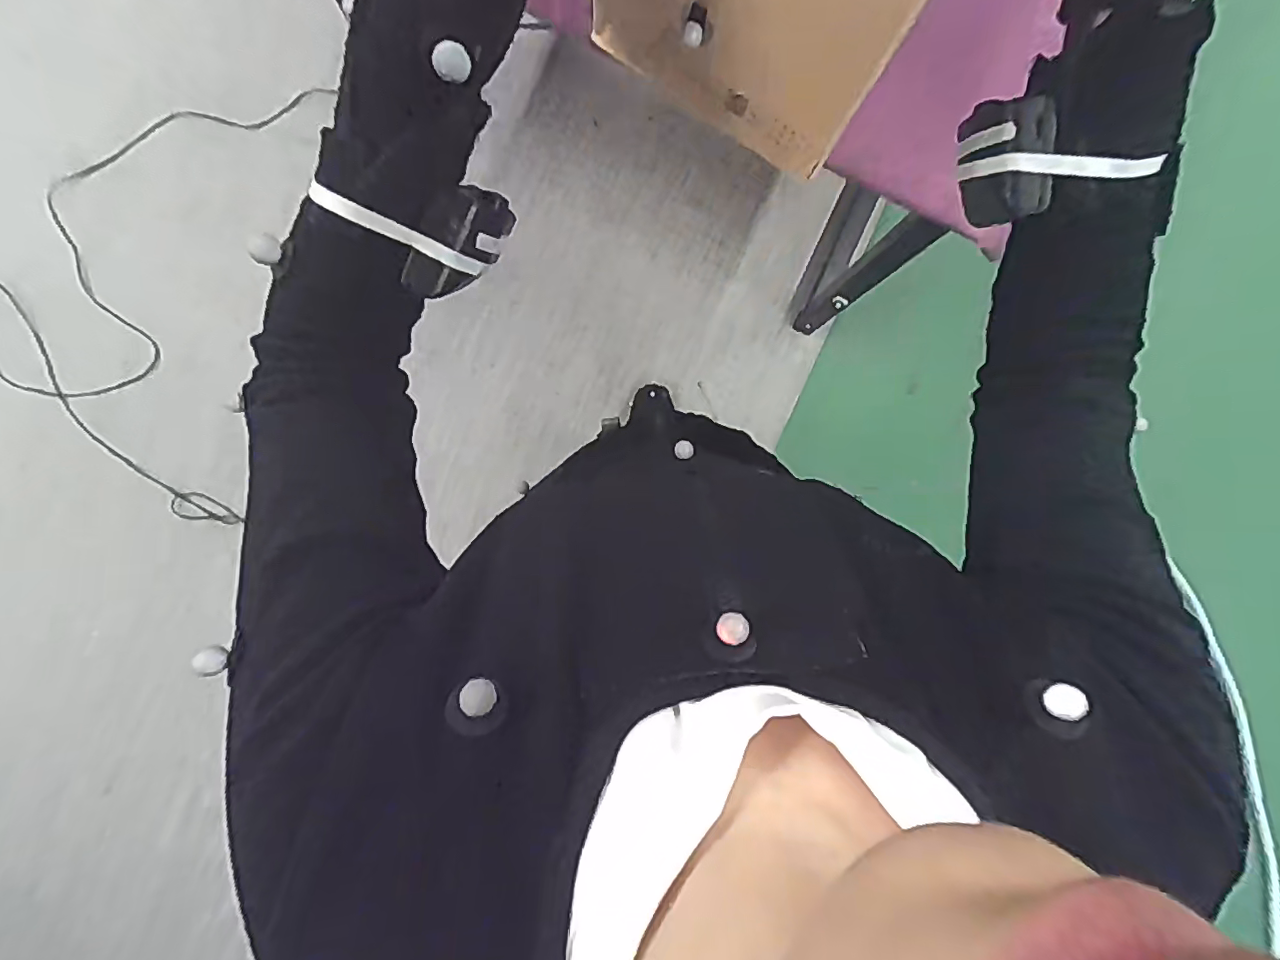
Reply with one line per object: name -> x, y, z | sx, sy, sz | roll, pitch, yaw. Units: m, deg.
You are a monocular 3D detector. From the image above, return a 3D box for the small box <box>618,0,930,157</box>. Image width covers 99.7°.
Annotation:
small box -> 0.097, -0.318, 0.267 | 0.168, 0.176, 0.179 | 33, 86, -2
